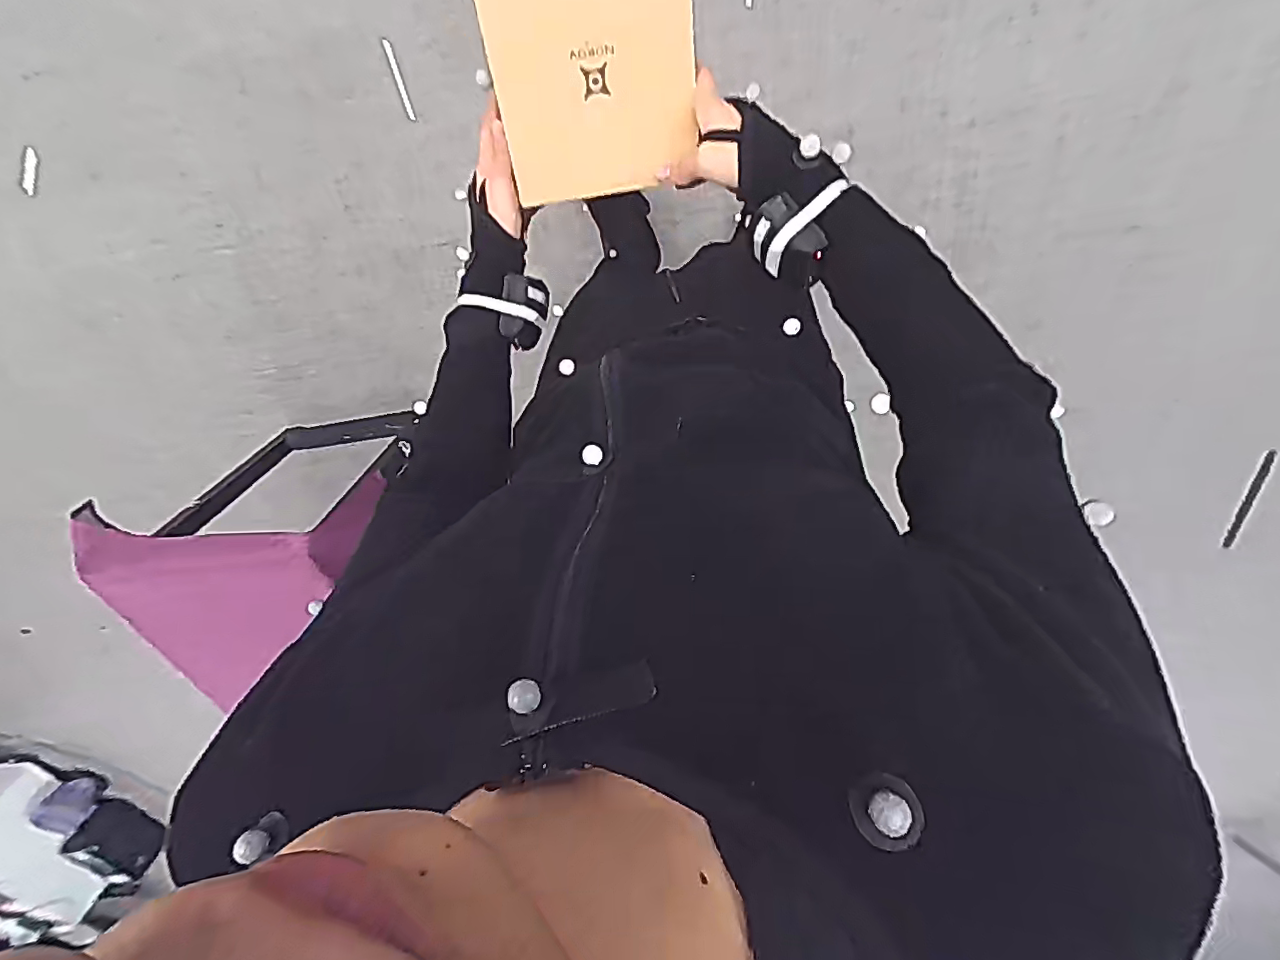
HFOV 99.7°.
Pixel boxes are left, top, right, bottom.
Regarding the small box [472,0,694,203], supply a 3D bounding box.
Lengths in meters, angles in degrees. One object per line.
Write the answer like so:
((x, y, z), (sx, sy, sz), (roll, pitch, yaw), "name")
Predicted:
((-0.047, -0.377, 0.500), (0.168, 0.176, 0.179), (-9, 126, -1), "small box")

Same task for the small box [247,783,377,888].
((-0.792, 0.868, 1.326), (0.179, 0.176, 0.168), (-11, 123, 13), "small box")
